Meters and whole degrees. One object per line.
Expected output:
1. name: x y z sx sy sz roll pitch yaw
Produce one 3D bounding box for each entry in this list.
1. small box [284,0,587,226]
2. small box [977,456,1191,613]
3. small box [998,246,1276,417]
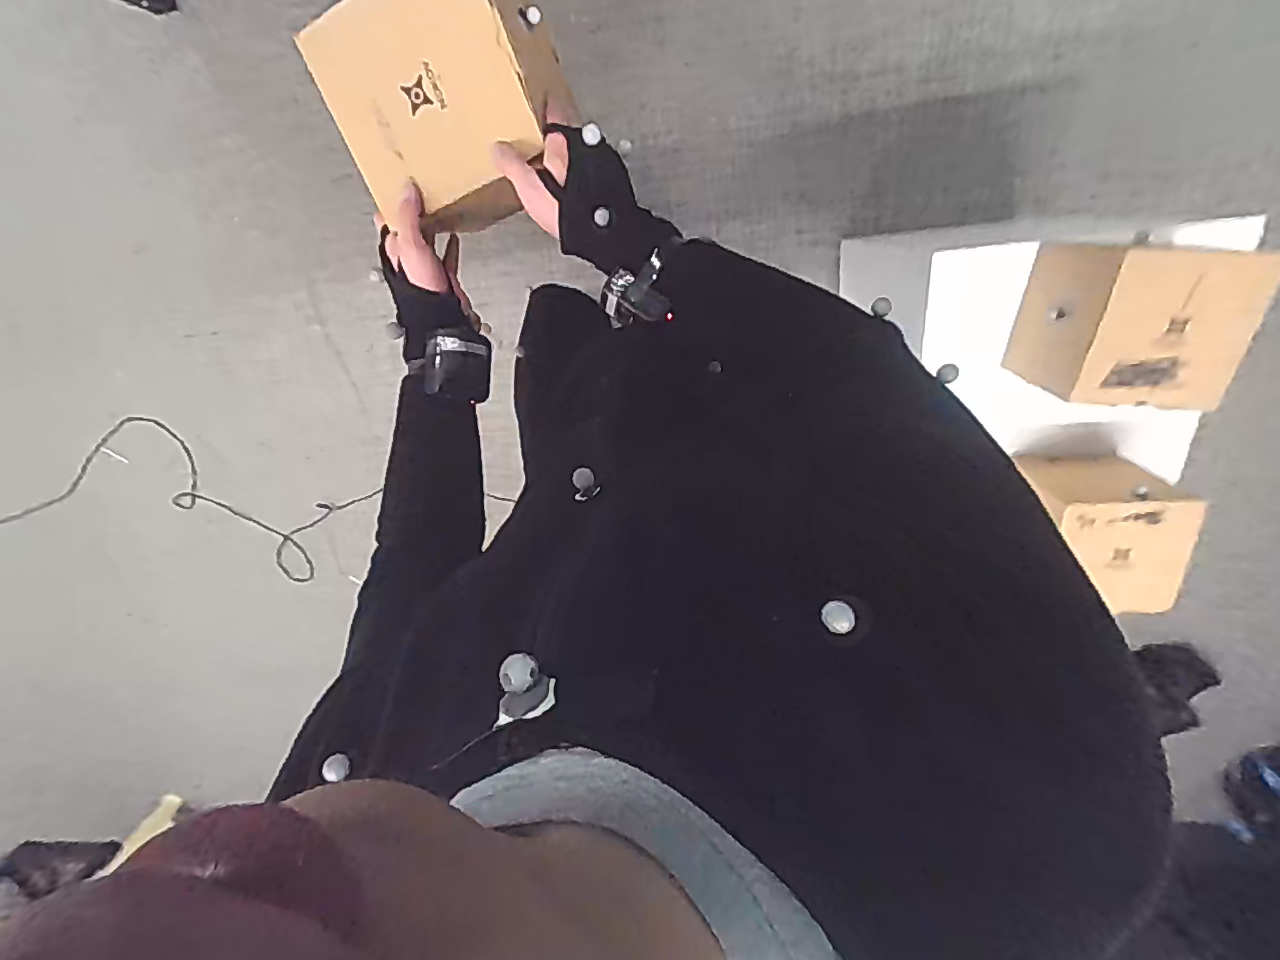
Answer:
1. small box: -0.163 -0.353 0.501 0.179 0.176 0.168 -16 108 19
2. small box: 0.636 0.077 0.806 0.168 0.176 0.179 -2 115 6
3. small box: 0.595 -0.194 0.683 0.168 0.176 0.179 4 115 2
